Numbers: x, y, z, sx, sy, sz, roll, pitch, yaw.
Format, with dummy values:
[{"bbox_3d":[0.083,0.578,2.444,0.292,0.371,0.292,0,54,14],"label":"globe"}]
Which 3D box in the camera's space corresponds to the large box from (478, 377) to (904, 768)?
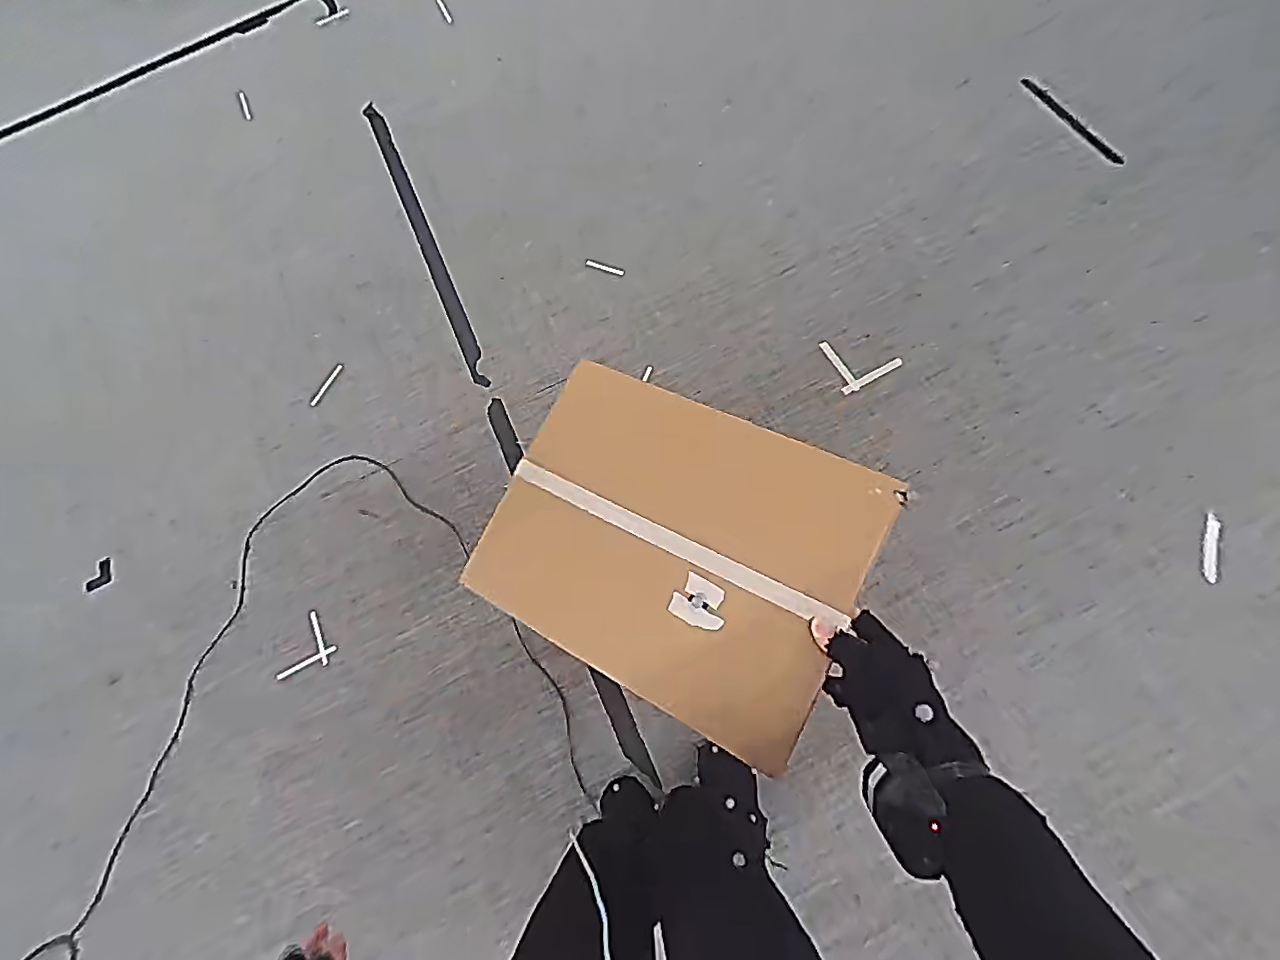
[{"bbox_3d":[0.074,0.113,0.747,0.408,0.320,0.320,25,83,20],"label":"large box"}]
